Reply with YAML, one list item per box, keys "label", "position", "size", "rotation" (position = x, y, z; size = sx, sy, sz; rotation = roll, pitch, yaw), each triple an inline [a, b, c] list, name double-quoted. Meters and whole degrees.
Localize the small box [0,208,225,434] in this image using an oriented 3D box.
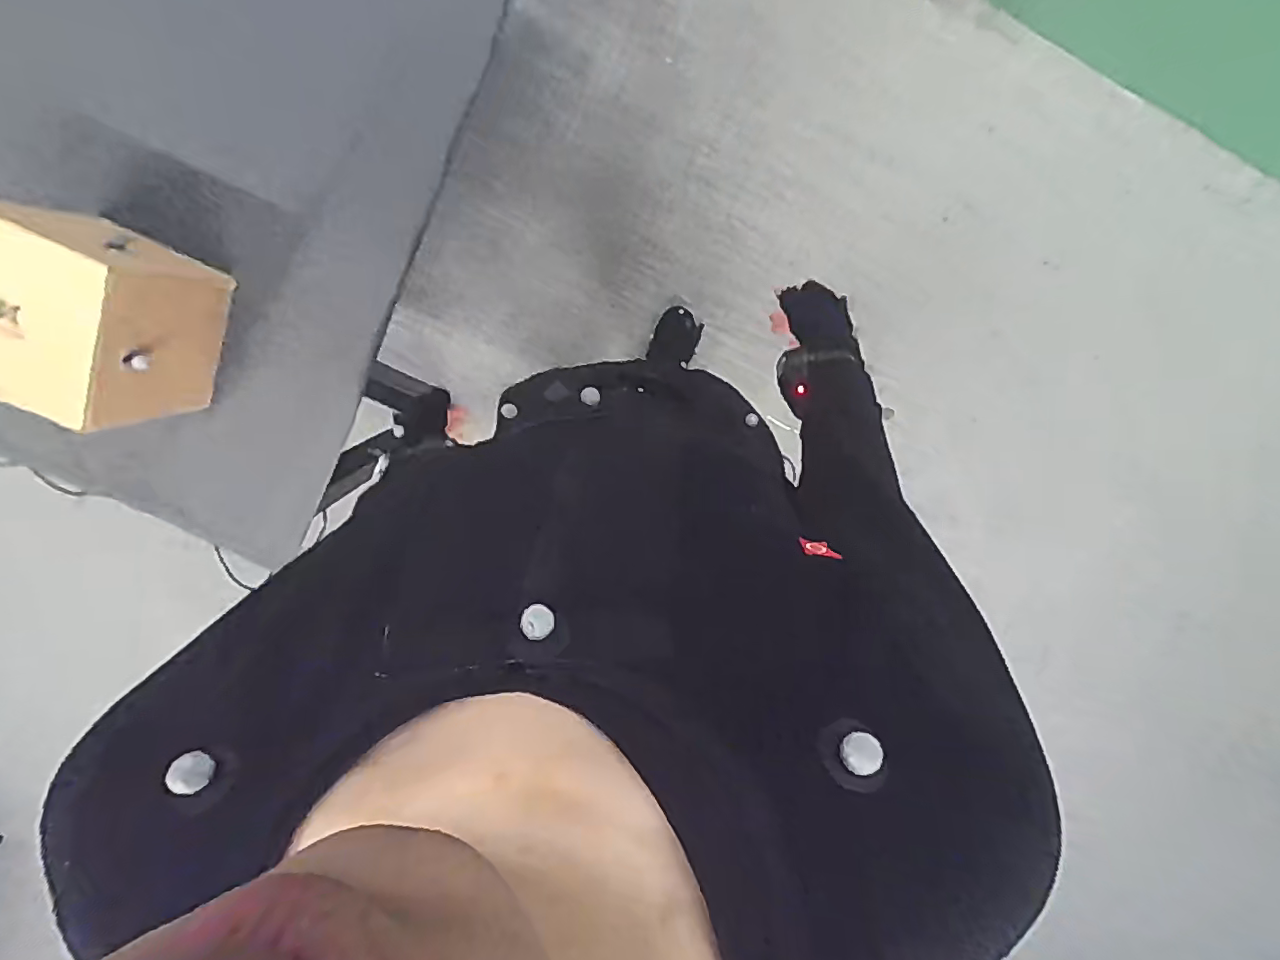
- label: "small box"
  position: [-0.599, -0.176, 0.586]
  size: [0.168, 0.176, 0.179]
  rotation: [23, 107, -7]
